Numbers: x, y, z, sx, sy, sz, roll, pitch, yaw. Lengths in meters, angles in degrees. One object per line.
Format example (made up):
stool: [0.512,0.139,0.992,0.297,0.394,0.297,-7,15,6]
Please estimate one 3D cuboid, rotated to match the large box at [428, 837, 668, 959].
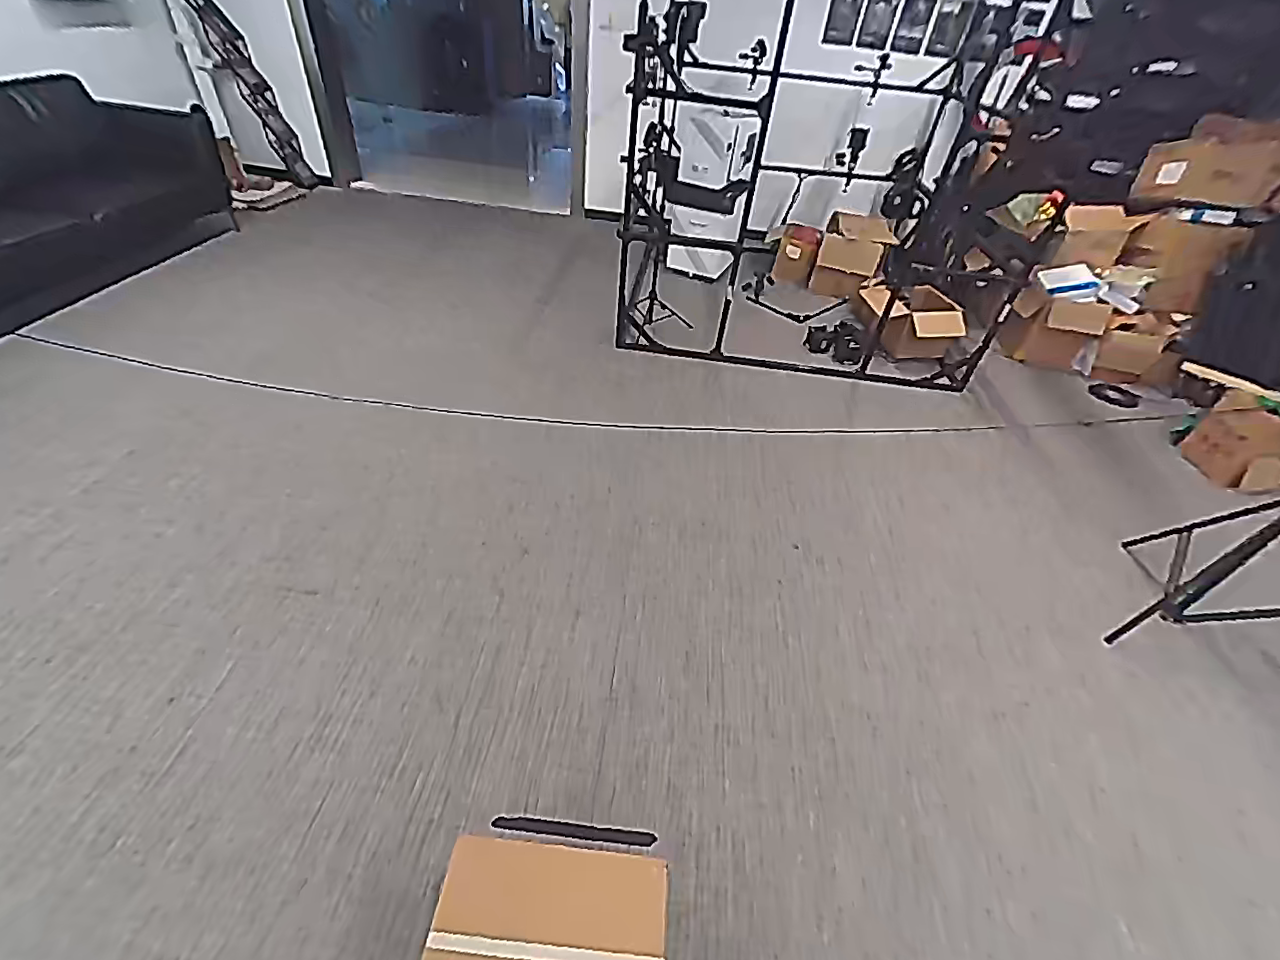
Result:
large box: [-0.171,0.915,1.012,0.408,0.320,0.320,8,41,0]
